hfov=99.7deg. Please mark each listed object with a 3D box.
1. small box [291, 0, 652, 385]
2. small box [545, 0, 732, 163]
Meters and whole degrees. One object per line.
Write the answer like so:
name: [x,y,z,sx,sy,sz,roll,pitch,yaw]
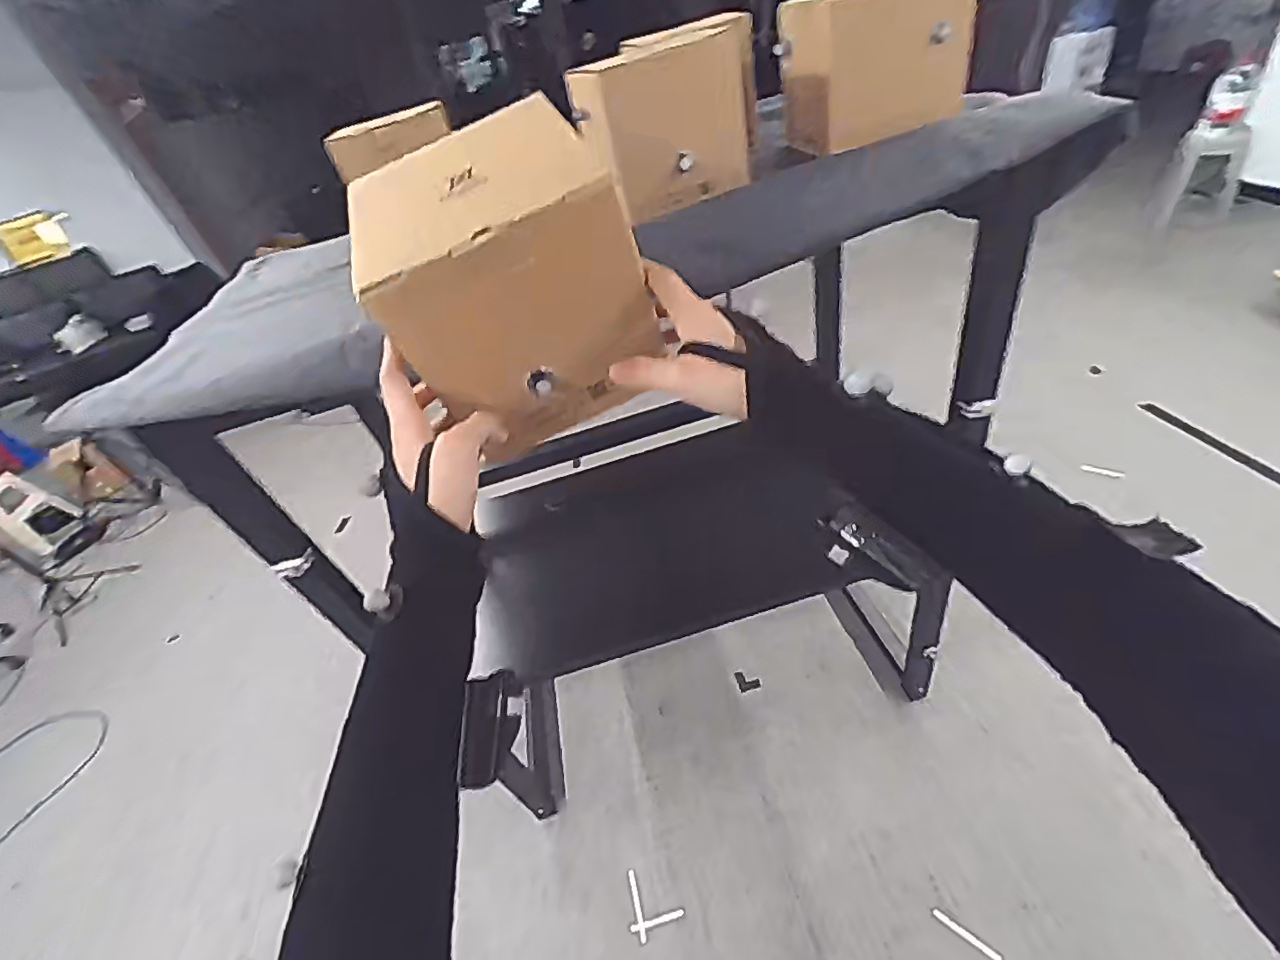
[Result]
small box: [-0.109,-0.202,0.386,0.168,0.176,0.179,-26,53,-1]
small box: [-0.002,-0.507,0.661,0.168,0.176,0.179,-22,41,-5]
